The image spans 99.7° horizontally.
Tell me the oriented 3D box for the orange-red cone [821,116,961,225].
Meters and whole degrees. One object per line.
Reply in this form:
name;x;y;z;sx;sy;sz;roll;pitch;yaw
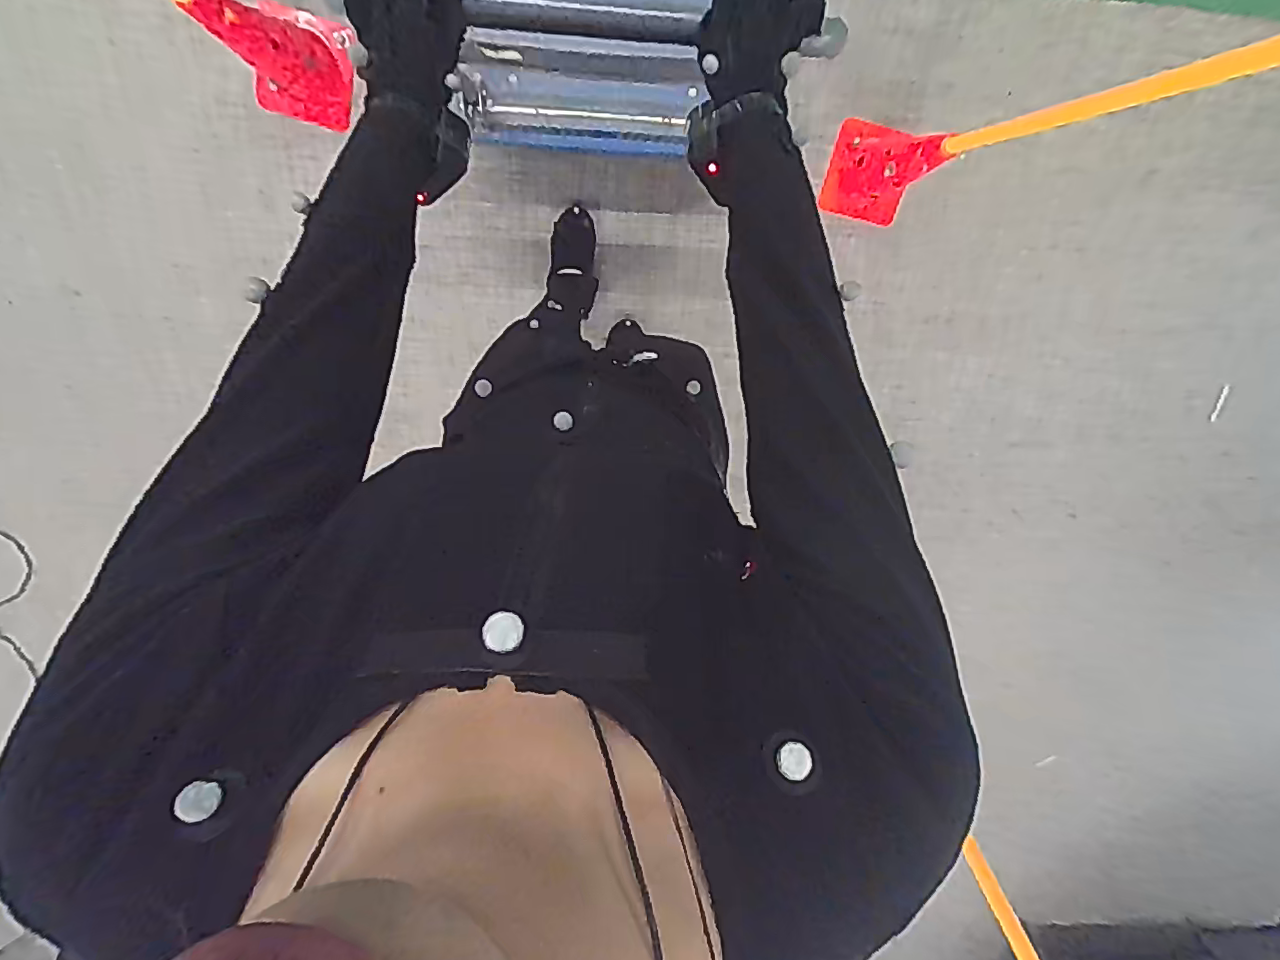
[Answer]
orange-red cone;0.551;-0.664;1.124;0.198;0.360;0.199;12;112;-6
